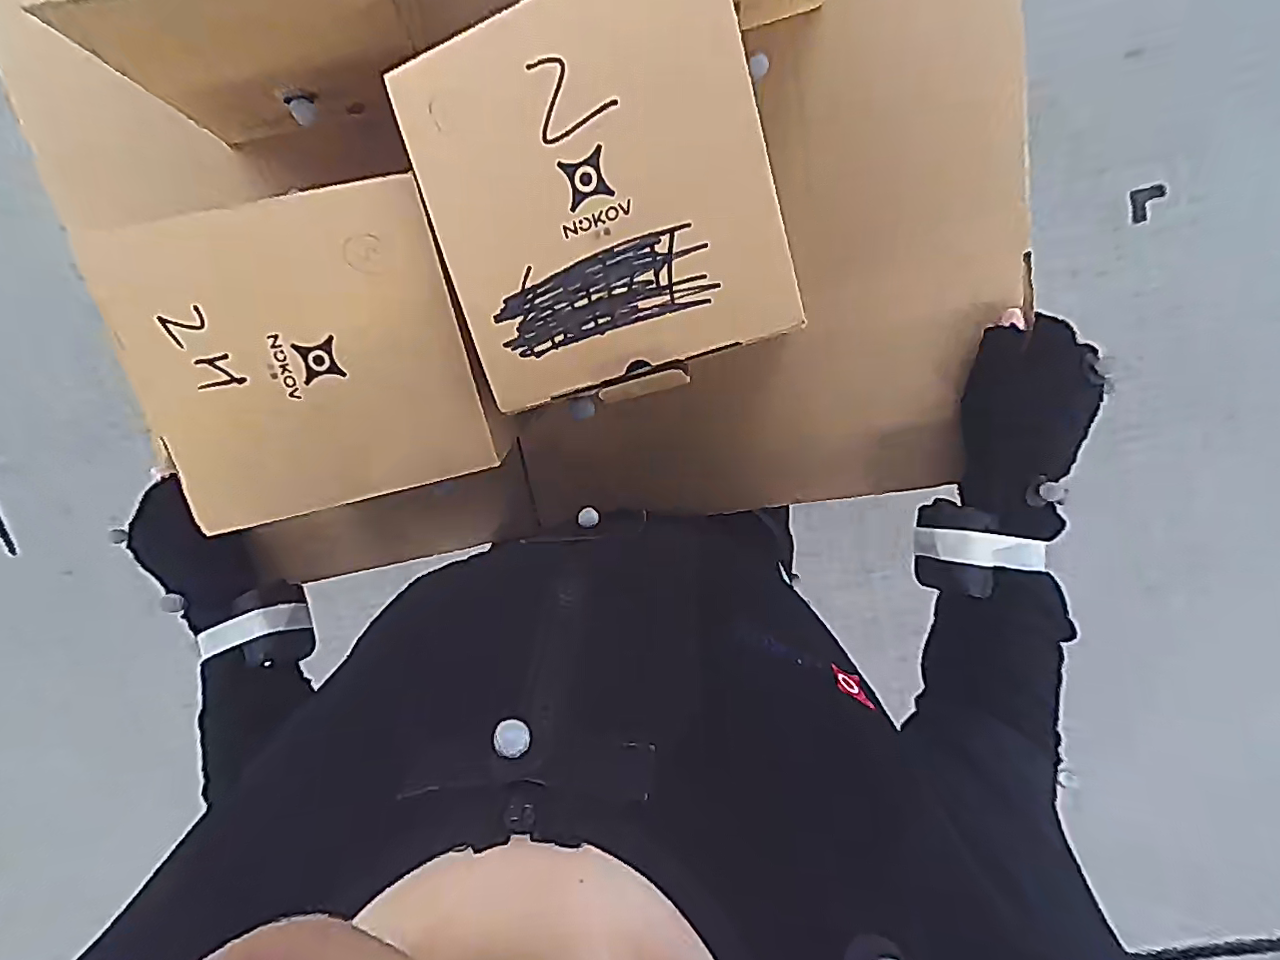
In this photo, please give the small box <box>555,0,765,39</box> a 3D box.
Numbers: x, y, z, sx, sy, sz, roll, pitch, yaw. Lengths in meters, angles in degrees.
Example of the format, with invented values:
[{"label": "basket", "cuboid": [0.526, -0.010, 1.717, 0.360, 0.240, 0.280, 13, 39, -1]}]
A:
[{"label": "small box", "cuboid": [0.008, -0.370, 0.274, 0.168, 0.176, 0.179, -6, 103, 14]}]
